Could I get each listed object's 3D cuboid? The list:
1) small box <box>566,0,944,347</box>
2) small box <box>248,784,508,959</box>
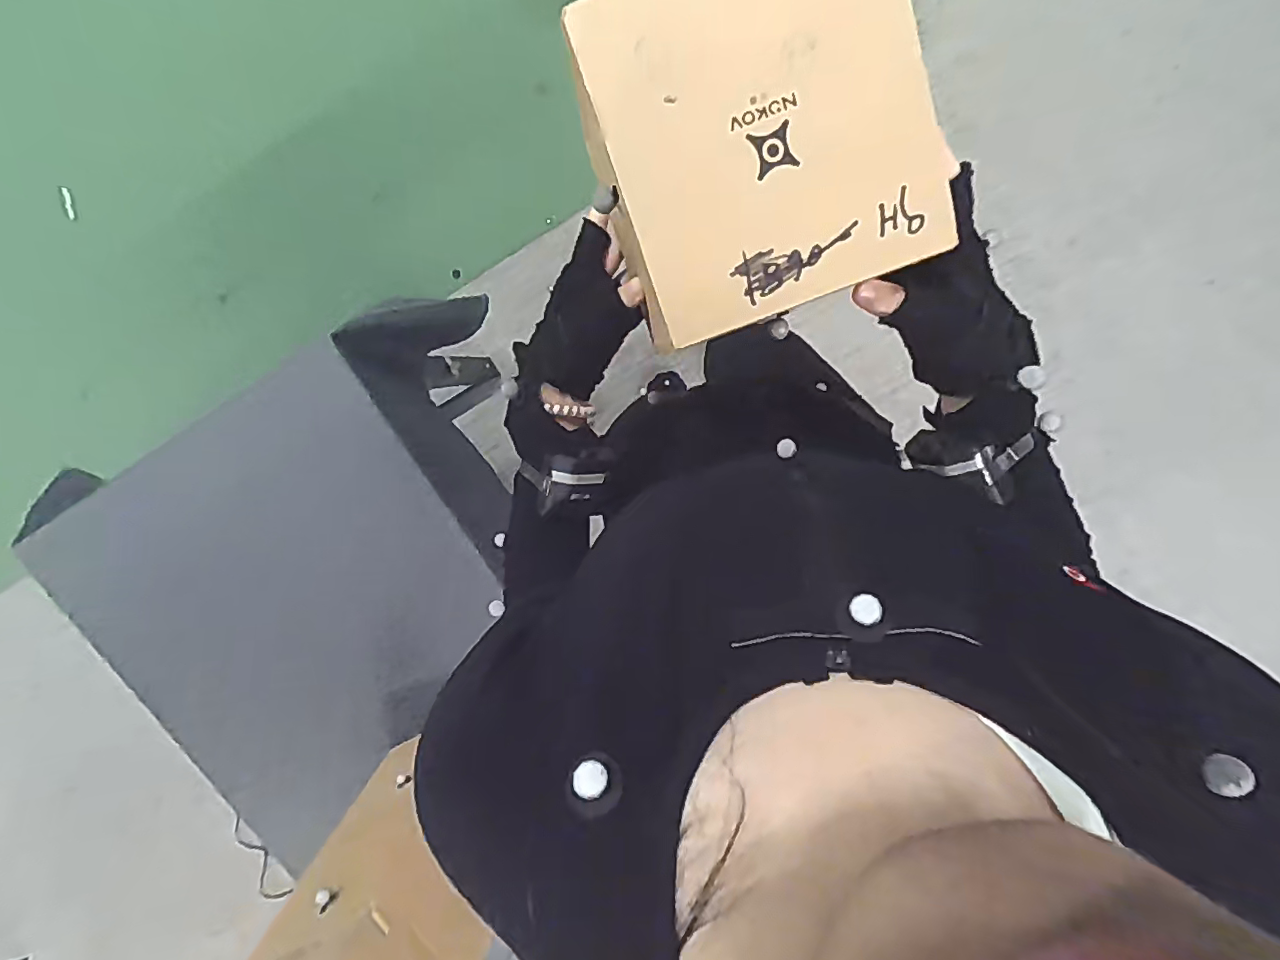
[{"bbox_3d":[0.062,-0.201,0.364,0.168,0.176,0.179,-19,101,3],"label":"small box"},{"bbox_3d":[-0.283,0.502,0.624,0.179,0.176,0.168,-30,99,8],"label":"small box"}]
